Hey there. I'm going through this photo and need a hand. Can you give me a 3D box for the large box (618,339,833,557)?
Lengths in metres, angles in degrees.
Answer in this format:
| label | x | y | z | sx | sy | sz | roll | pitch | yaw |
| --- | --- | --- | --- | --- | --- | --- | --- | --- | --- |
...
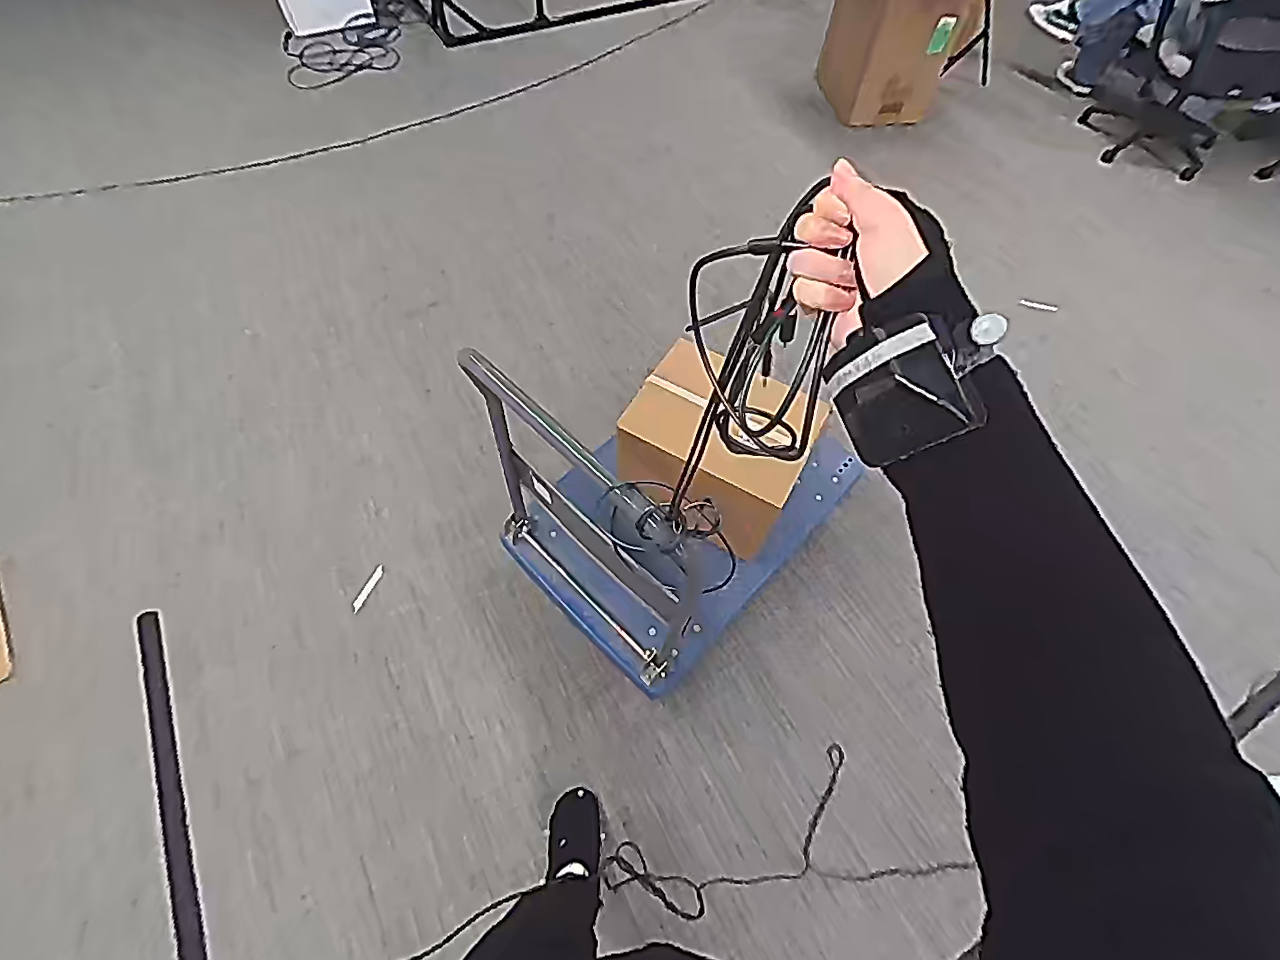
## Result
| label | x | y | z | sx | sy | sz | roll | pitch | yaw |
| --- | --- | --- | --- | --- | --- | --- | --- | --- | --- |
| large box | 0.190 | -0.074 | 1.342 | 0.408 | 0.320 | 0.320 | 28 | 64 | 12 |
